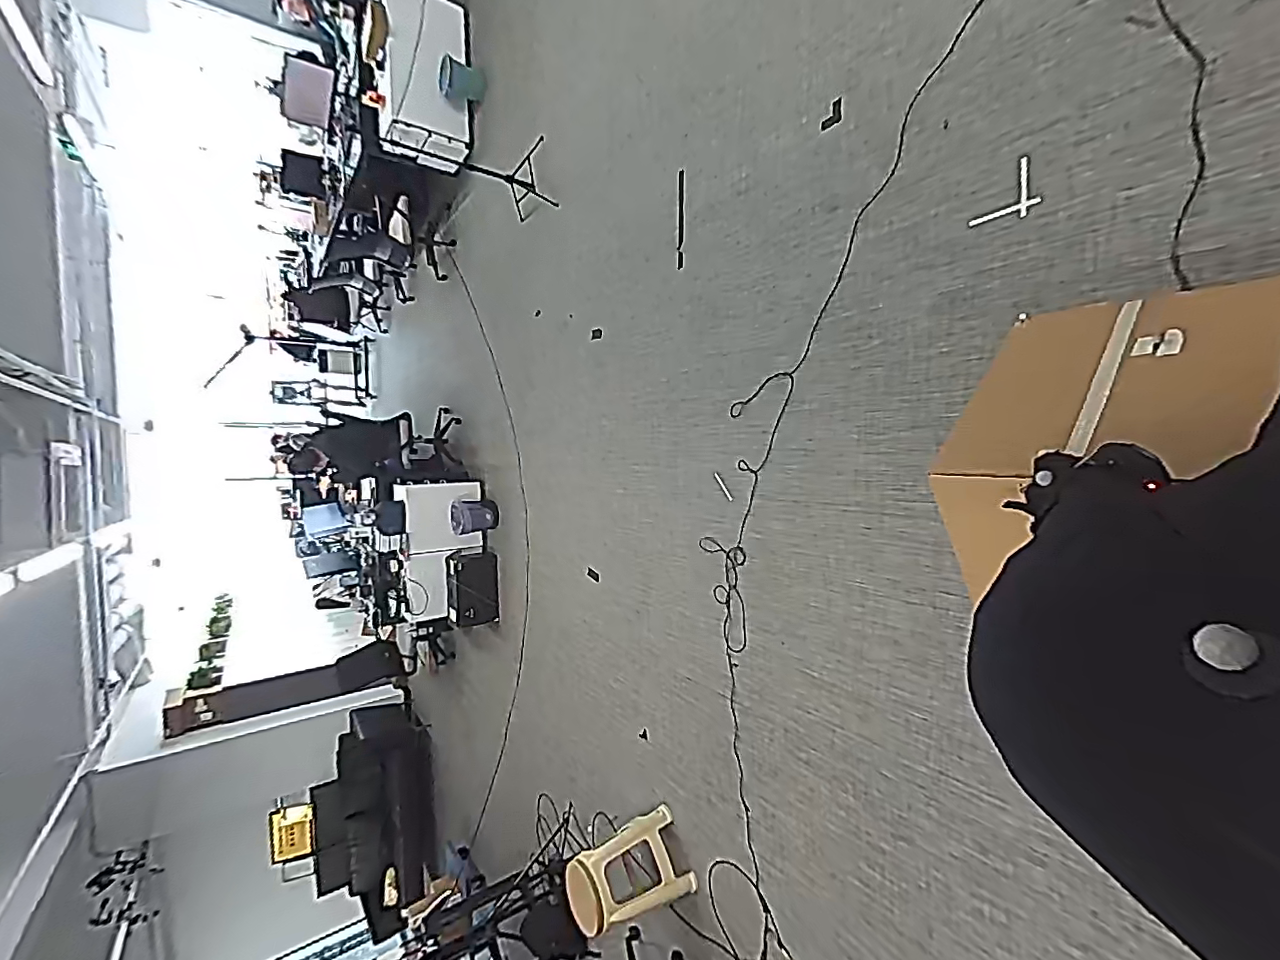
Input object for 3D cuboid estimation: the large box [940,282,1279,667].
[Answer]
[{"bbox_3d":[0.698,-0.017,0.780,0.320,0.408,0.320,5,134,52],"label":"large box"}]
